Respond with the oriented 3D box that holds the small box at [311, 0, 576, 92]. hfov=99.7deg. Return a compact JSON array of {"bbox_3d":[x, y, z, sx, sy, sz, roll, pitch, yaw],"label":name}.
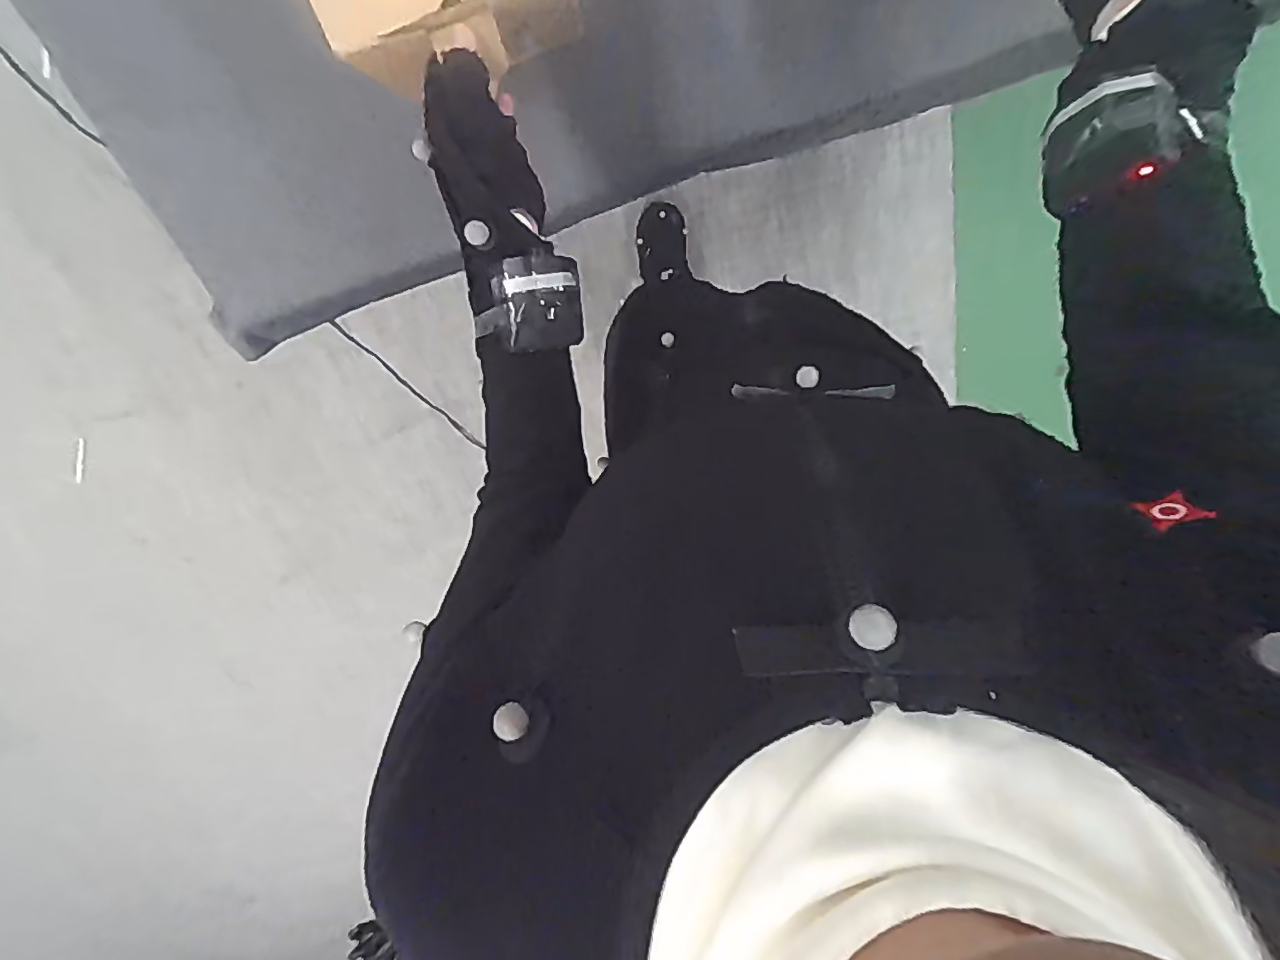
[{"bbox_3d":[-0.152,-0.408,0.386,0.168,0.176,0.179,-18,116,5],"label":"small box"}]
